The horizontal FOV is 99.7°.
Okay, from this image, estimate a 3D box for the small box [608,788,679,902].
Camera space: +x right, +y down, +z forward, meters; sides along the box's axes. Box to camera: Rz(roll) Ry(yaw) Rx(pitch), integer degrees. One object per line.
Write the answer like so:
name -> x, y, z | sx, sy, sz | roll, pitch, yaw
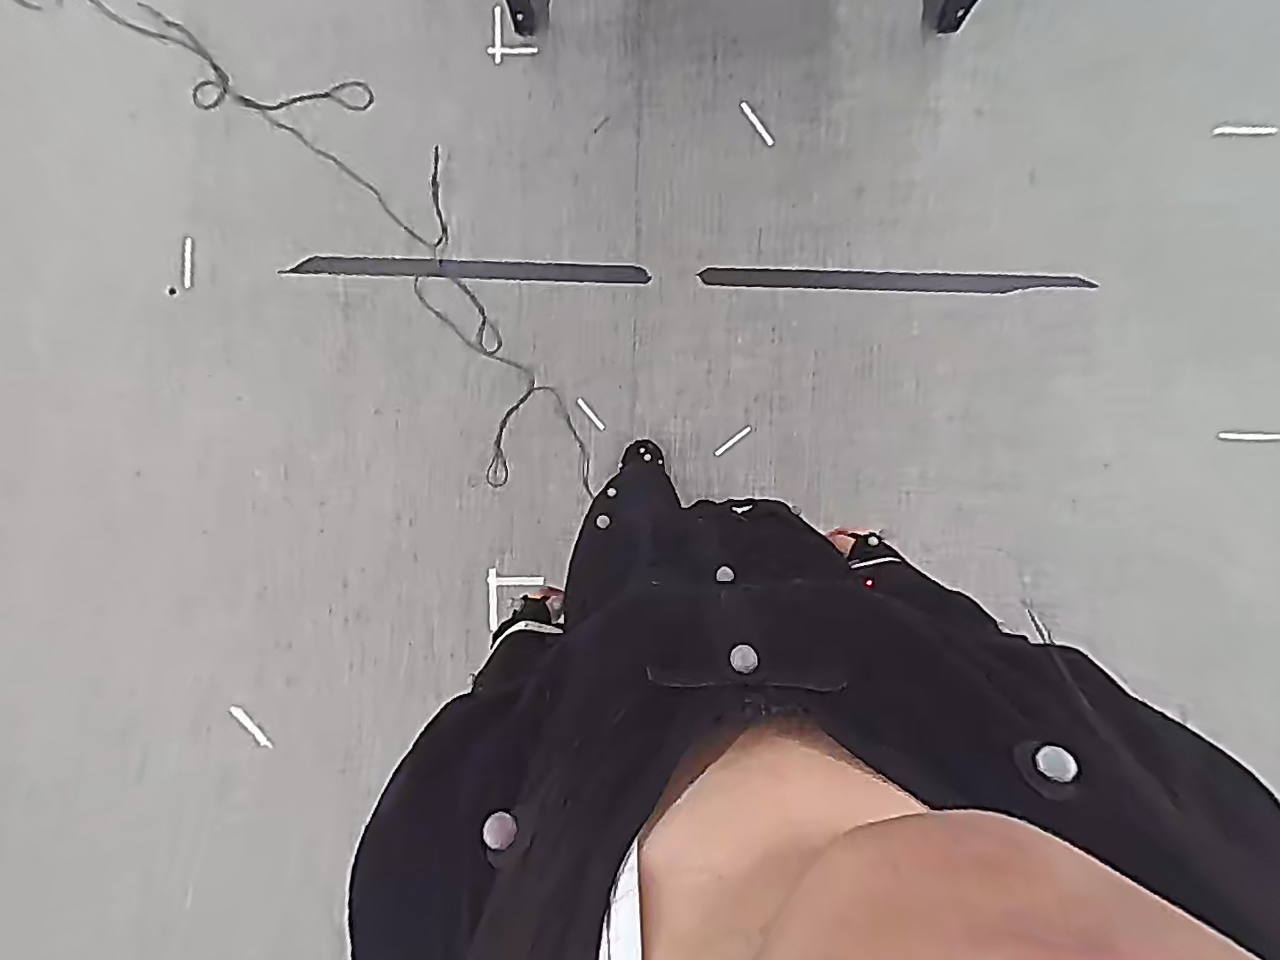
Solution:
small box -> 0.011, 0.920, 1.374 | 0.168, 0.176, 0.179 | -5, 91, 1
